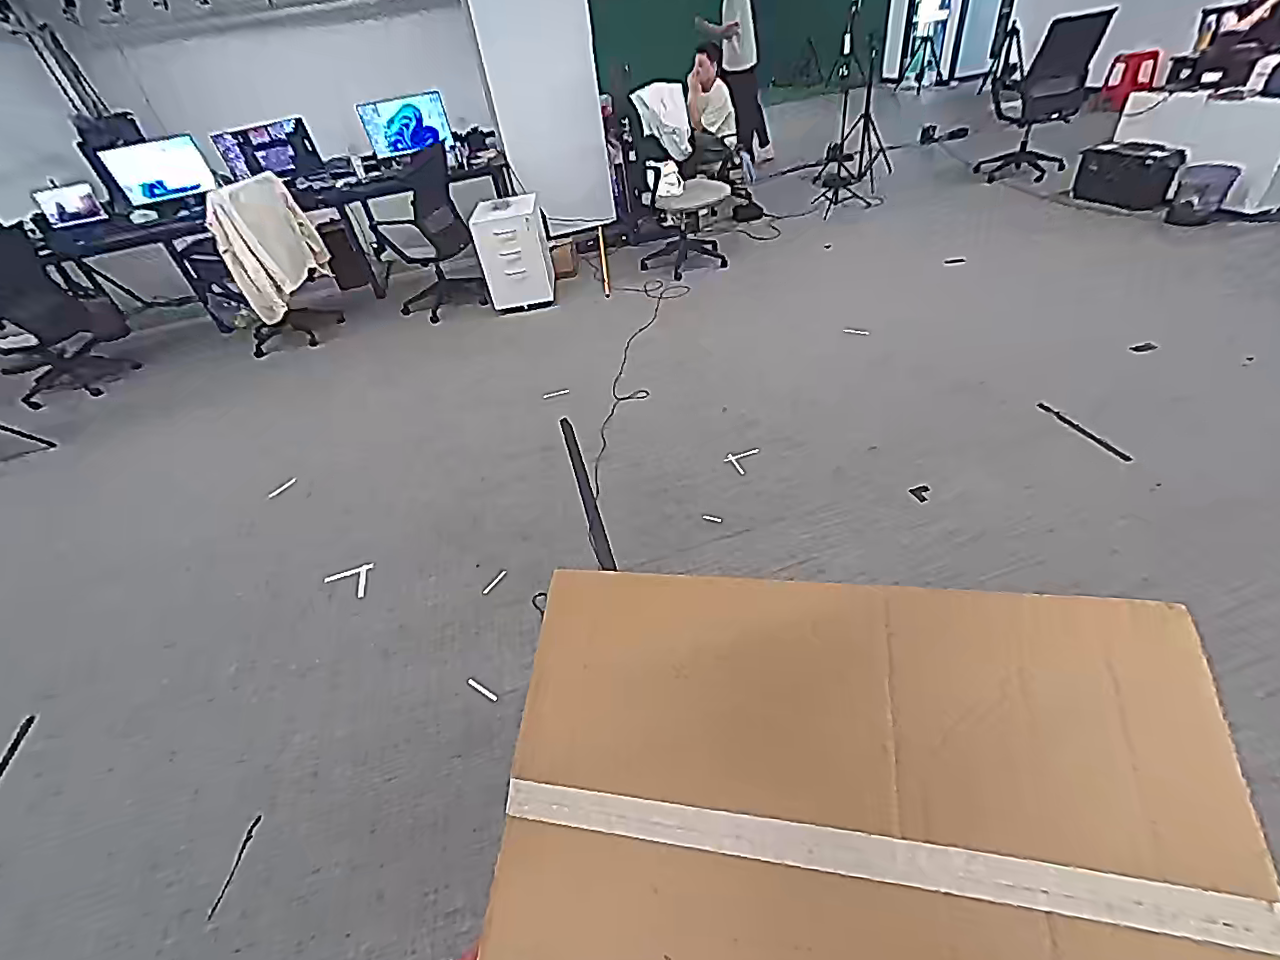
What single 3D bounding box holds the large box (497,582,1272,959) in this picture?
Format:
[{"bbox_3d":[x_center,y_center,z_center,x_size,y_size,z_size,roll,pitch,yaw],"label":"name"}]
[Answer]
[{"bbox_3d":[0.147,0.285,0.445,0.408,0.320,0.320,0,63,15],"label":"large box"}]
